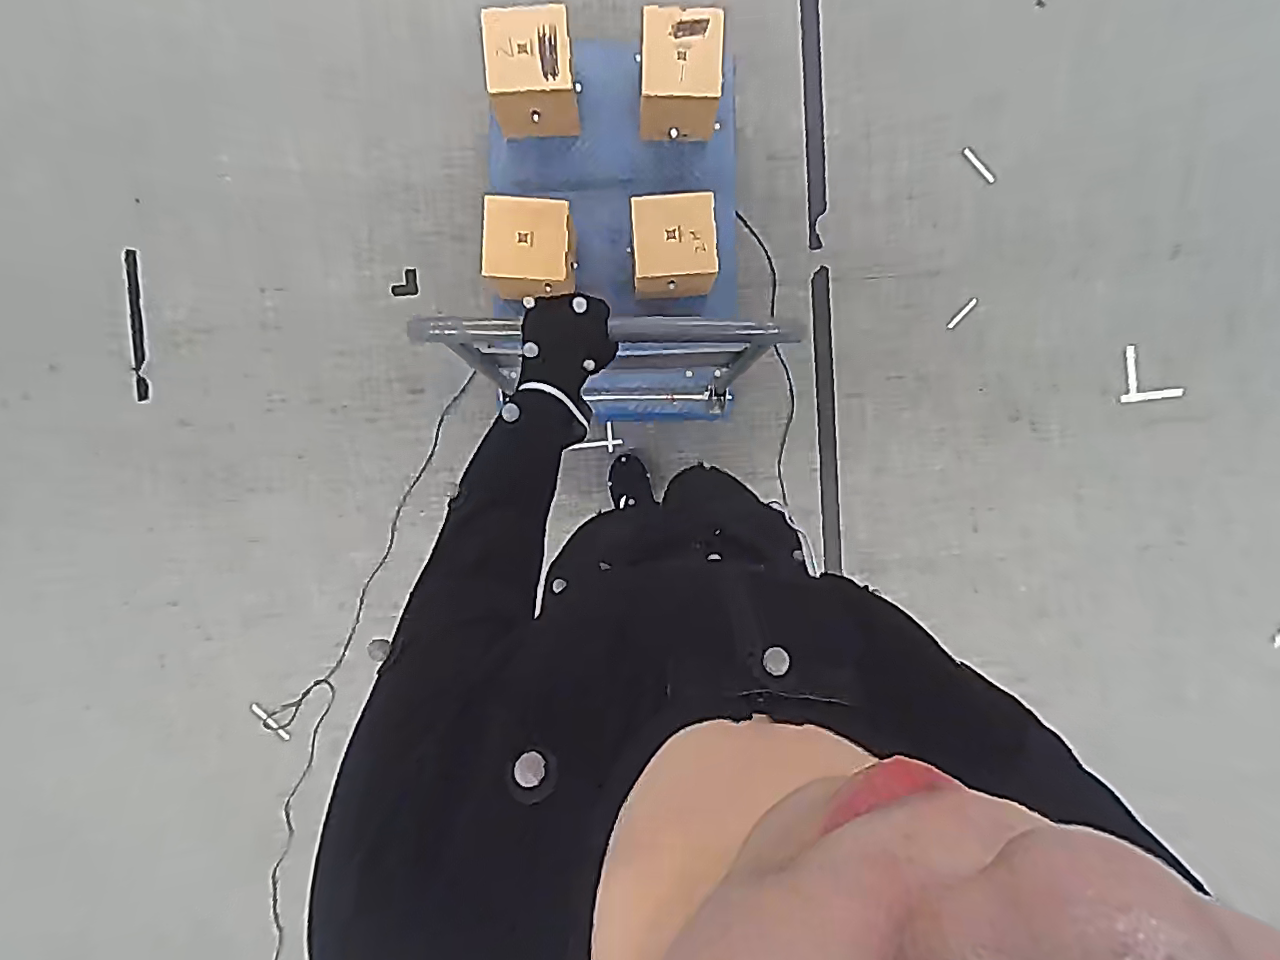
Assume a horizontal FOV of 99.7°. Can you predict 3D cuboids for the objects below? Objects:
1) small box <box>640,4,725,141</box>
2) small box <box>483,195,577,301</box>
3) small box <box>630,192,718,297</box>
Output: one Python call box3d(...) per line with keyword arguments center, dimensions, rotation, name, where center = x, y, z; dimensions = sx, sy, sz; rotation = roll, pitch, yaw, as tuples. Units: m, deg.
box3d(center=(0.086, -0.878, 1.178), dimensions=(0.168, 0.176, 0.179), rotation=(1, 94, -1), name="small box")
box3d(center=(-0.237, -0.504, 1.195), dimensions=(0.179, 0.176, 0.168), rotation=(2, 93, -3), name="small box")
box3d(center=(0.072, -0.513, 1.199), dimensions=(0.179, 0.176, 0.168), rotation=(-4, 93, 0), name="small box")
